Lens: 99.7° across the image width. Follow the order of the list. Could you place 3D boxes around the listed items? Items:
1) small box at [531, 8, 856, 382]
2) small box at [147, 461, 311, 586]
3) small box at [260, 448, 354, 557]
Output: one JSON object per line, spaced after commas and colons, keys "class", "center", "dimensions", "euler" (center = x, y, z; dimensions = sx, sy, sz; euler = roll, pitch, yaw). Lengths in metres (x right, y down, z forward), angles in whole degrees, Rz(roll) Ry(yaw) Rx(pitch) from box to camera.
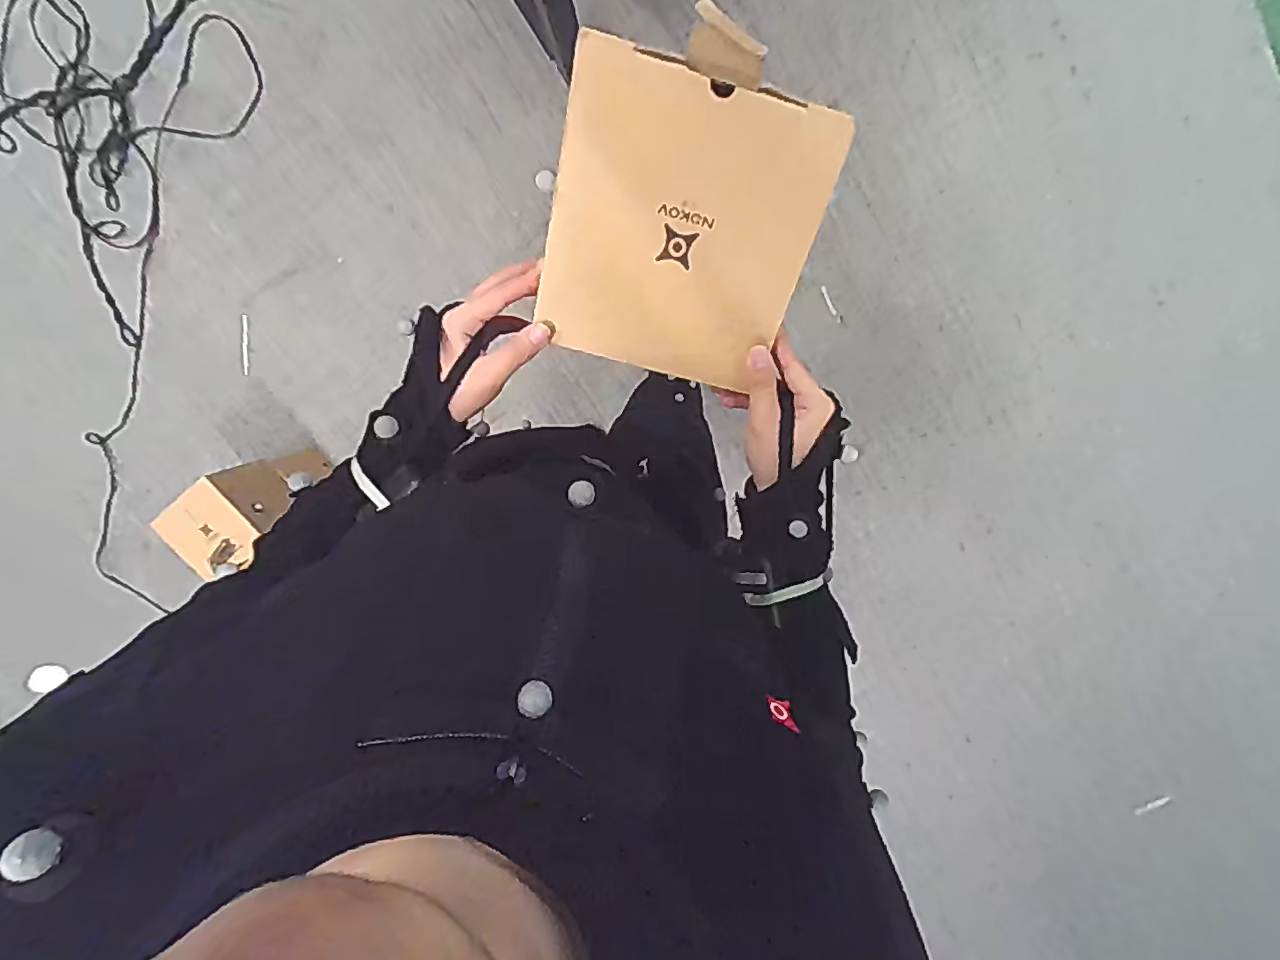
{"class": "small box", "center": [0.026, -0.199, 0.407], "dimensions": [0.168, 0.176, 0.179], "euler": [13, 118, -7]}
{"class": "small box", "center": [-0.848, 0.084, 1.136], "dimensions": [0.168, 0.176, 0.179], "euler": [-37, 100, 9]}
{"class": "small box", "center": [-0.835, 0.047, 1.297], "dimensions": [0.179, 0.176, 0.168], "euler": [-42, 100, 11]}
